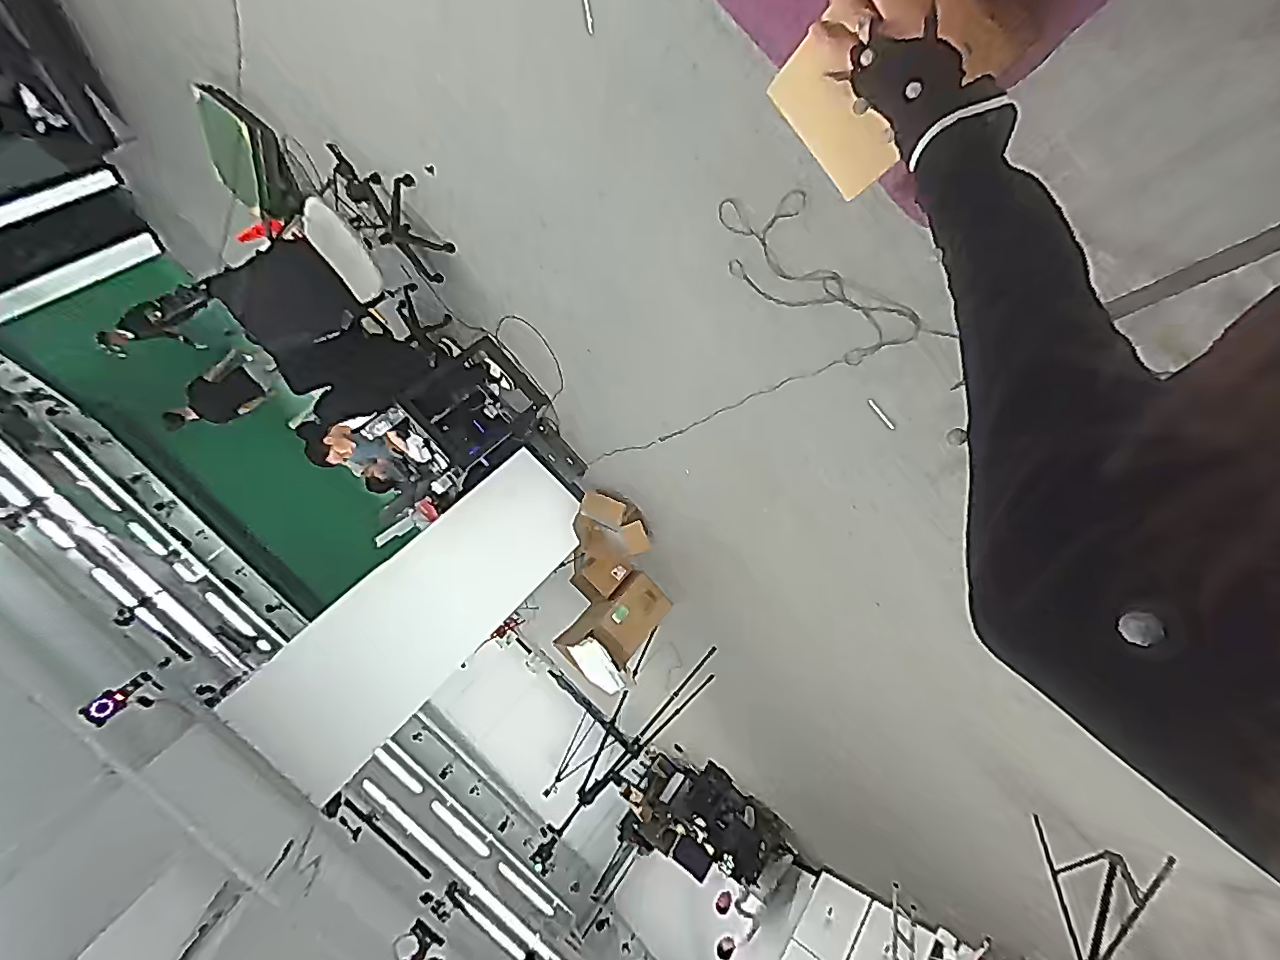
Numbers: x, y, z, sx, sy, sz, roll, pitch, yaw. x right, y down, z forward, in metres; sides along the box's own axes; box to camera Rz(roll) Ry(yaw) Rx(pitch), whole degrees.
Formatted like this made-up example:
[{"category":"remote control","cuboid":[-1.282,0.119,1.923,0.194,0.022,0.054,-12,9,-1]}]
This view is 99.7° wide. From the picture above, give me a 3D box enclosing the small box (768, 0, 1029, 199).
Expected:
[{"category":"small box","cuboid":[0.288,-0.467,0.609,0.168,0.176,0.179,49,151,-8]}]
